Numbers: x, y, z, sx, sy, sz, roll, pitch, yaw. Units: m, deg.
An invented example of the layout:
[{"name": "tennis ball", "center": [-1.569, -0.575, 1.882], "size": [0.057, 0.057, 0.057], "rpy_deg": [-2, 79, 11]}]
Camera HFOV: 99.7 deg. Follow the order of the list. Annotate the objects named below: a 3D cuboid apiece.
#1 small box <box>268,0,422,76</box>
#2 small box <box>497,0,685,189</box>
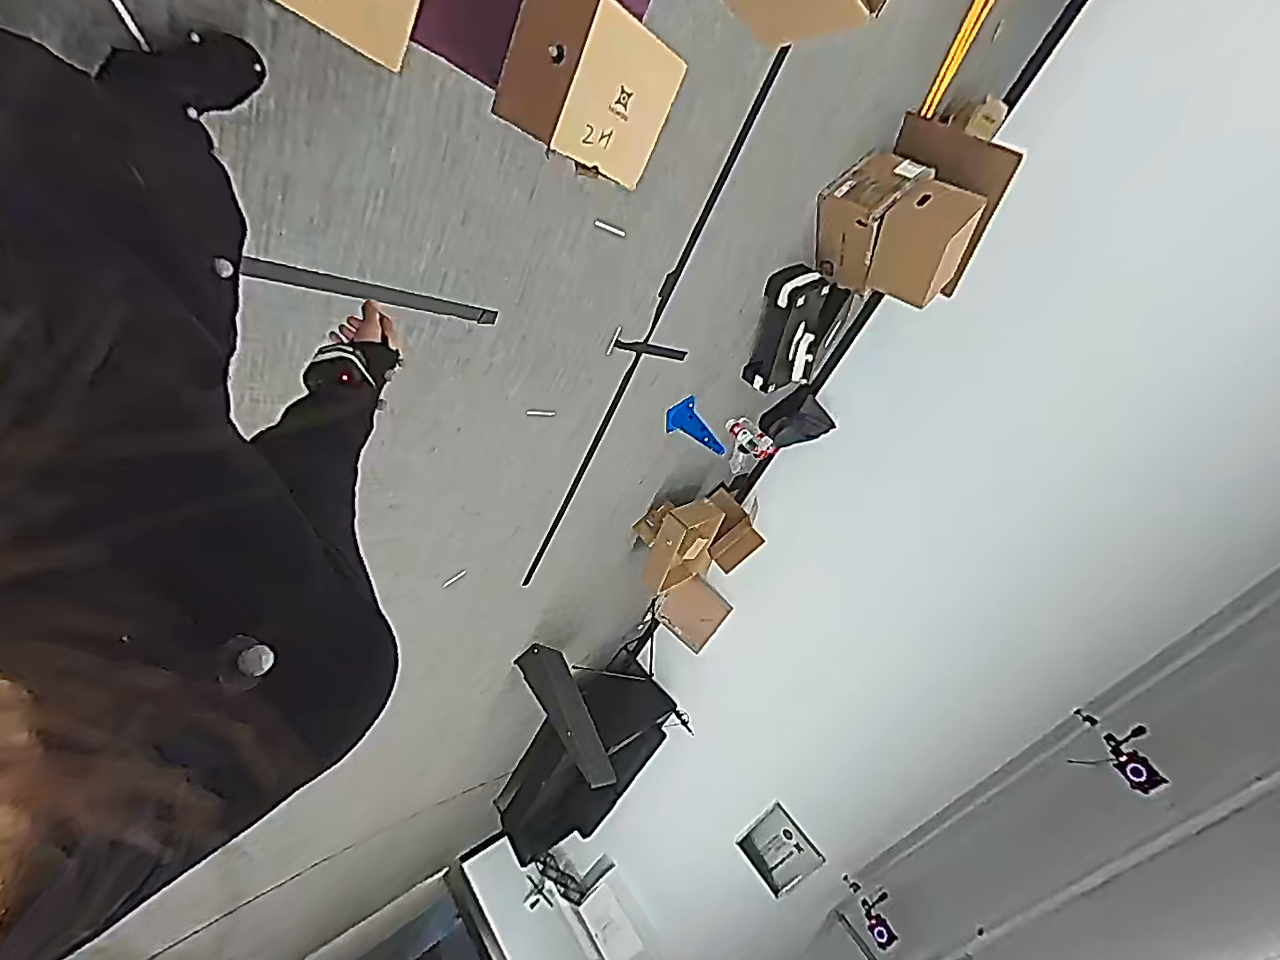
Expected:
[{"name": "small box", "center": [-0.306, -0.532, 0.497], "size": [0.168, 0.176, 0.179], "rpy_deg": [-1, 130, -51]}, {"name": "small box", "center": [-0.076, -0.553, 0.760], "size": [0.168, 0.176, 0.179], "rpy_deg": [-4, 132, -48]}]
